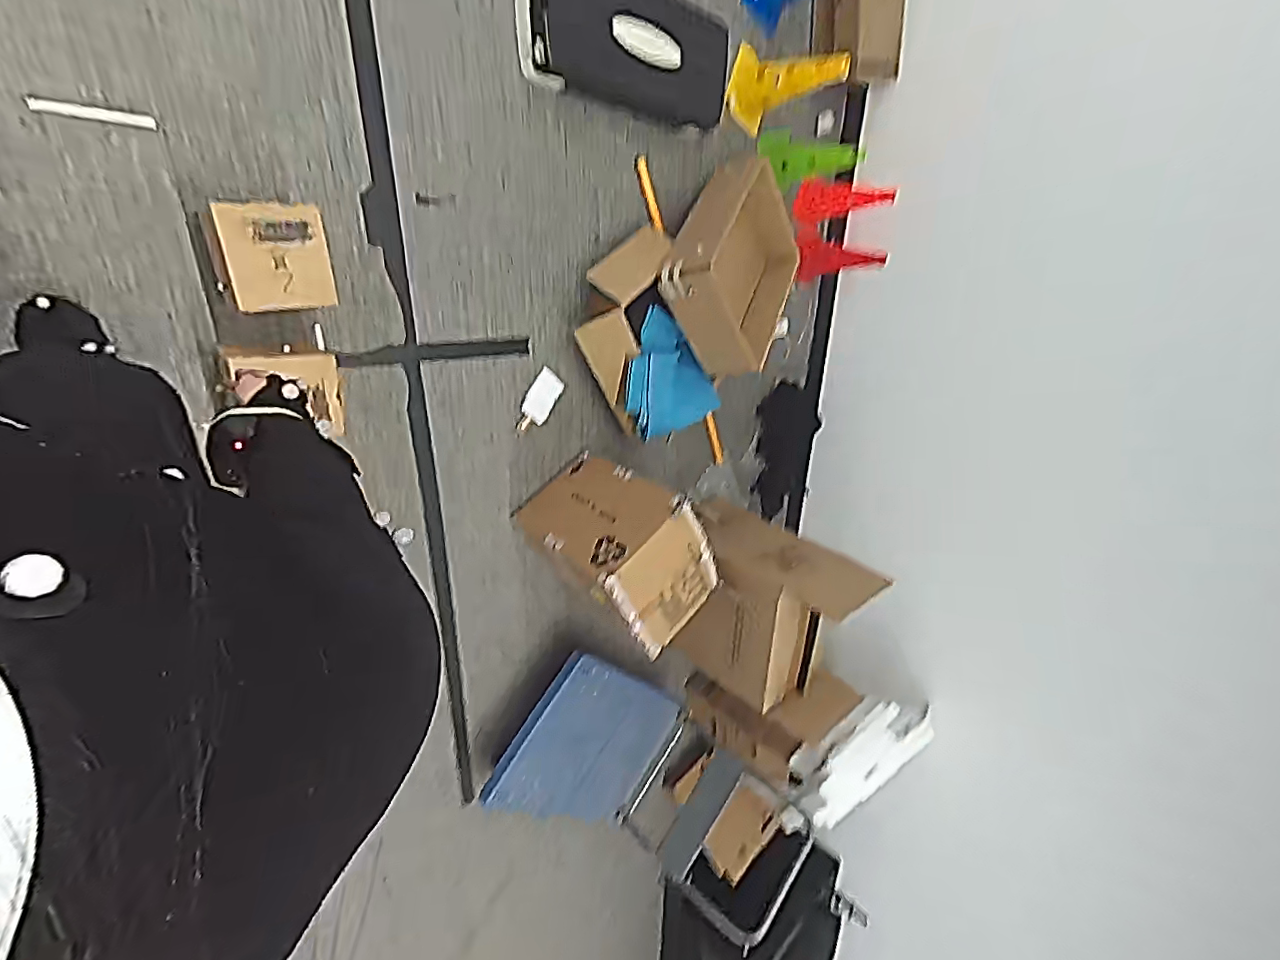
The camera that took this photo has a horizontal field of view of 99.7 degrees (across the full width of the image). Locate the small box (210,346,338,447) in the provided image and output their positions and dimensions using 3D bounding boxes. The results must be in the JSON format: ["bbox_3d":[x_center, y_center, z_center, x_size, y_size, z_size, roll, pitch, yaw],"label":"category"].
[{"bbox_3d":[-0.737,-0.177,1.092,0.179,0.176,0.168,-13,117,-41],"label":"small box"}]

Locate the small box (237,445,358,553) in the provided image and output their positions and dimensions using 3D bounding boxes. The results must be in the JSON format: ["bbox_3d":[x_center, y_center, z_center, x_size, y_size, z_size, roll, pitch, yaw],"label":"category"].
[{"bbox_3d":[-0.746,0.032,1.182,0.179,0.176,0.168,-16,119,-40],"label":"small box"}]
